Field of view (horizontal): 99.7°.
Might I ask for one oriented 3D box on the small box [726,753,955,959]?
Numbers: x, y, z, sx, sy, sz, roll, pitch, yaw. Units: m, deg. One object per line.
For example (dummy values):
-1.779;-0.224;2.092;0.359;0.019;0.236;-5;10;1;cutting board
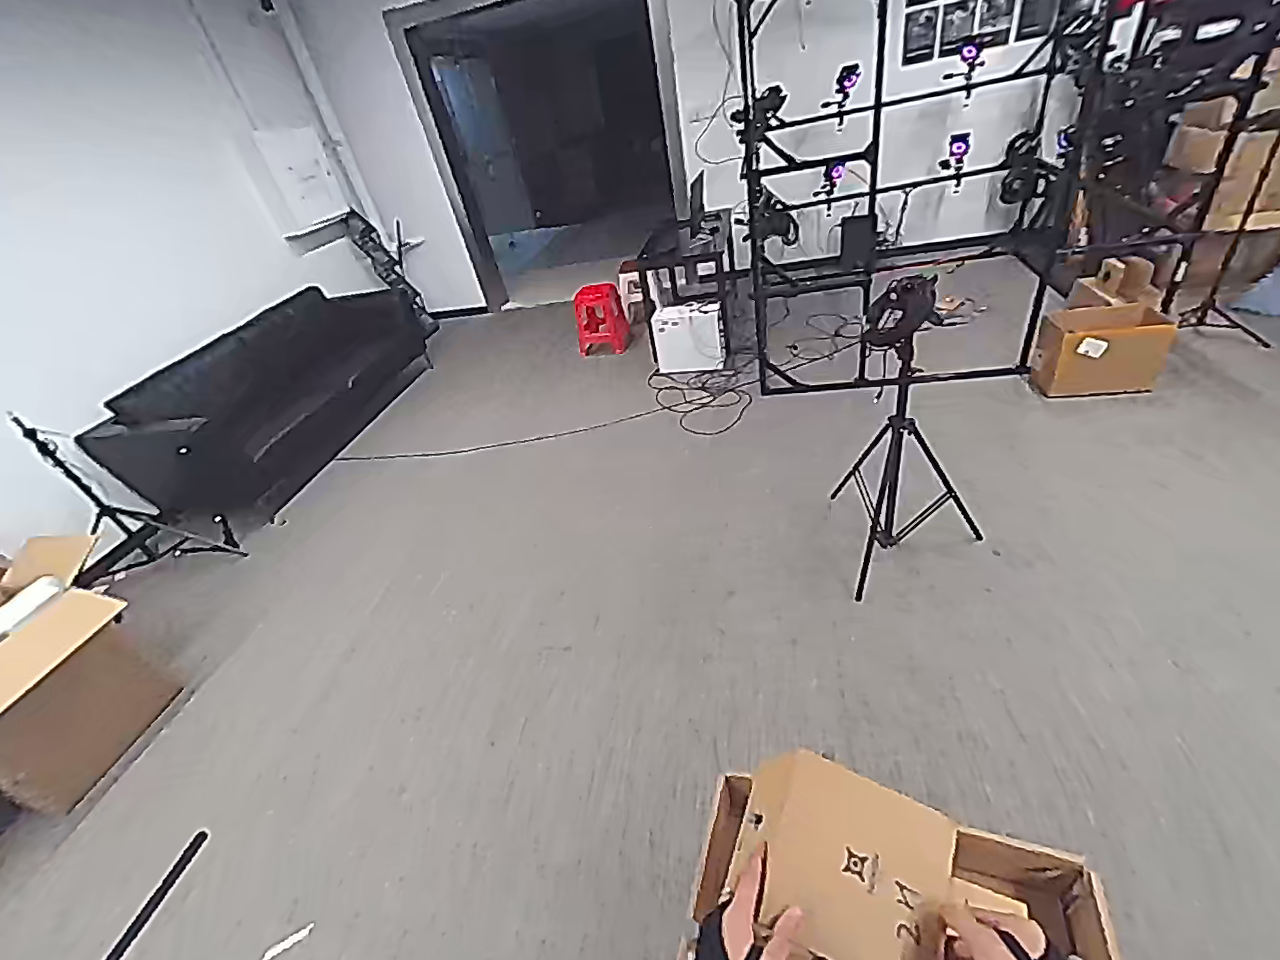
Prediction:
0.210;0.432;0.600;0.179;0.176;0.168;22;59;8;small box
